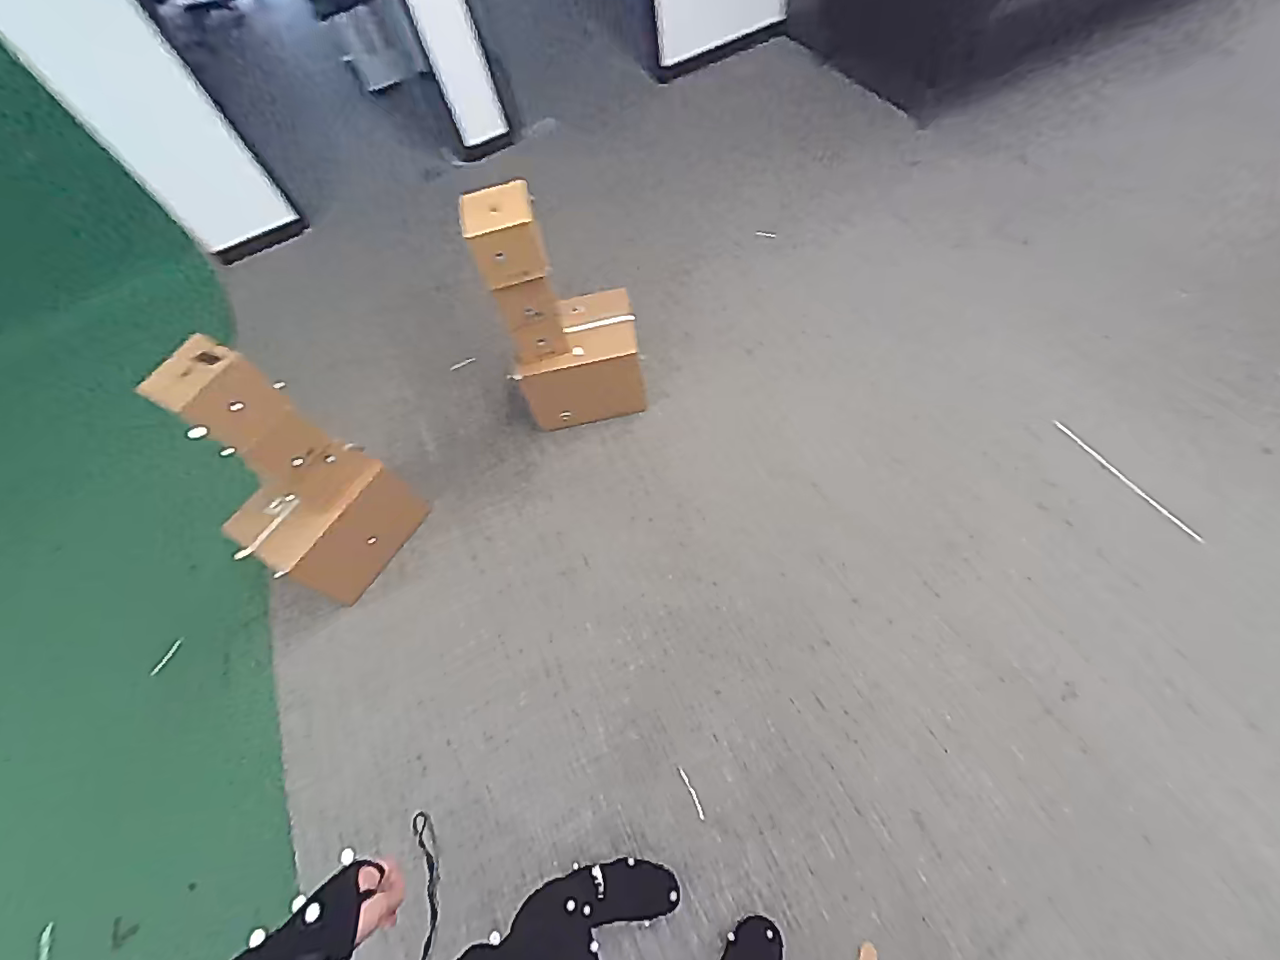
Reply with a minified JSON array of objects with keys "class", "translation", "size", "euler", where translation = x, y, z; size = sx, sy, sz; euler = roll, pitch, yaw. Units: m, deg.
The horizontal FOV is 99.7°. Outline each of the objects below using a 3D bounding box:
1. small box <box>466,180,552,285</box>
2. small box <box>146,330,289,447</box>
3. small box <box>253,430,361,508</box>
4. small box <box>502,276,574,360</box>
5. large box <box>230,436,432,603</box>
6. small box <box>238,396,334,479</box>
[{"class":"small box","translation":[-0.336,-0.633,1.406],"size":[0.168,0.176,0.179],"euler":[-15,60,0]},{"class":"small box","translation":[-0.968,-0.210,1.261],"size":[0.168,0.176,0.179],"euler":[24,69,21]},{"class":"small box","translation":[-0.936,-0.050,1.544],"size":[0.168,0.176,0.179],"euler":[24,67,21]},{"class":"small box","translation":[-0.318,-0.502,1.707],"size":[0.168,0.176,0.179],"euler":[-17,60,-2]},{"class":"large box","translation":[-0.964,0.116,1.739],"size":[0.320,0.320,0.408],"euler":[24,68,23]},{"class":"small box","translation":[-0.951,-0.129,1.402],"size":[0.179,0.176,0.168],"euler":[26,68,21]}]
